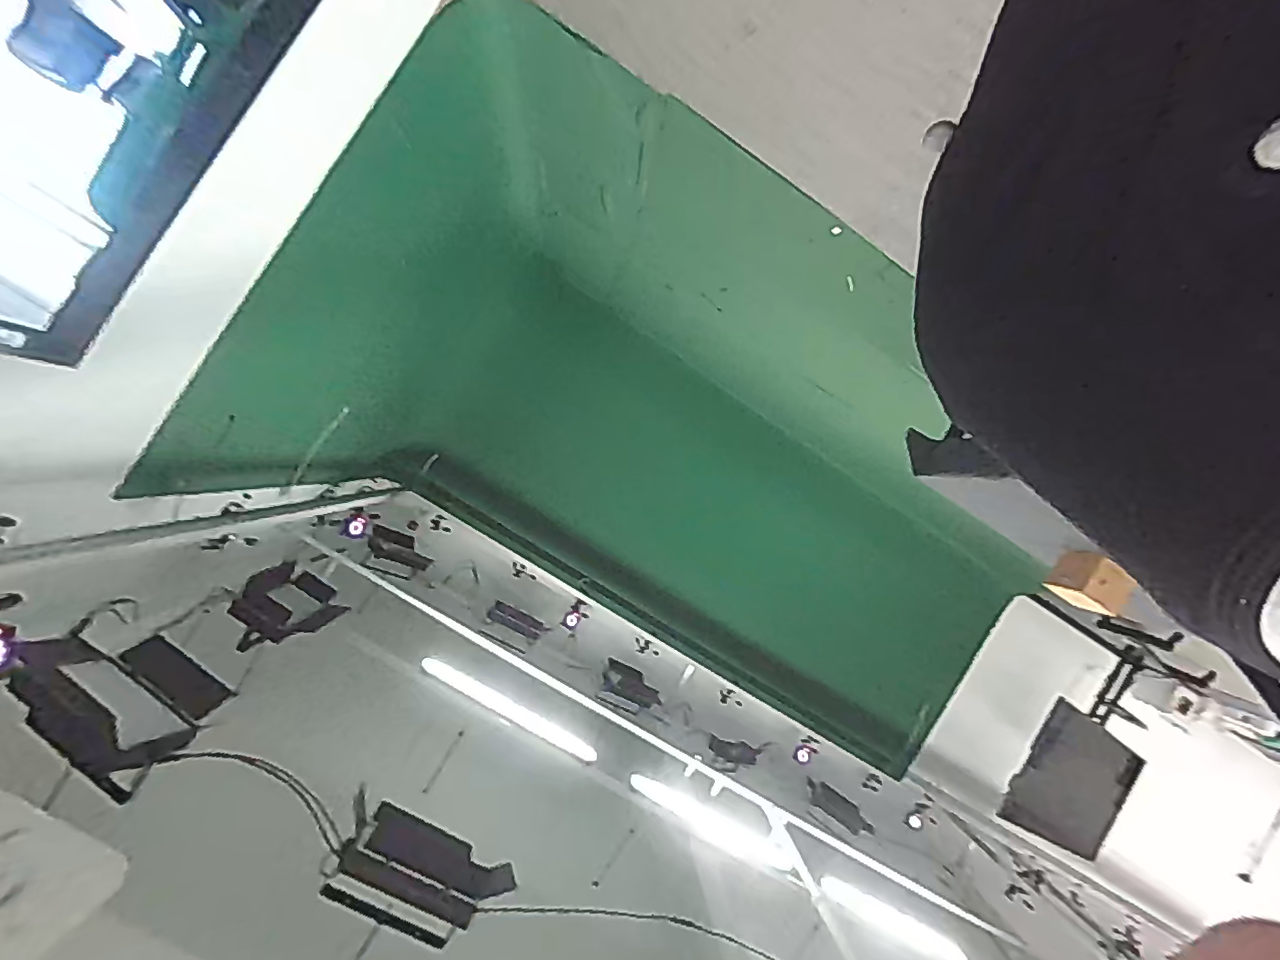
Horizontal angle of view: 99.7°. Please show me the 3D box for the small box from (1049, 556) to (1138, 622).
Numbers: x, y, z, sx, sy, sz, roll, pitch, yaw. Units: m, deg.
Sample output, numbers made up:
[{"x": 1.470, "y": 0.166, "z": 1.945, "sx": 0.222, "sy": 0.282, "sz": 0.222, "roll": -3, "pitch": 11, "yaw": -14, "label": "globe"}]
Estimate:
[{"x": 1.722, "y": 0.406, "z": 2.046, "sx": 0.168, "sy": 0.176, "sz": 0.179, "roll": 35, "pitch": 179, "yaw": -5, "label": "small box"}]
